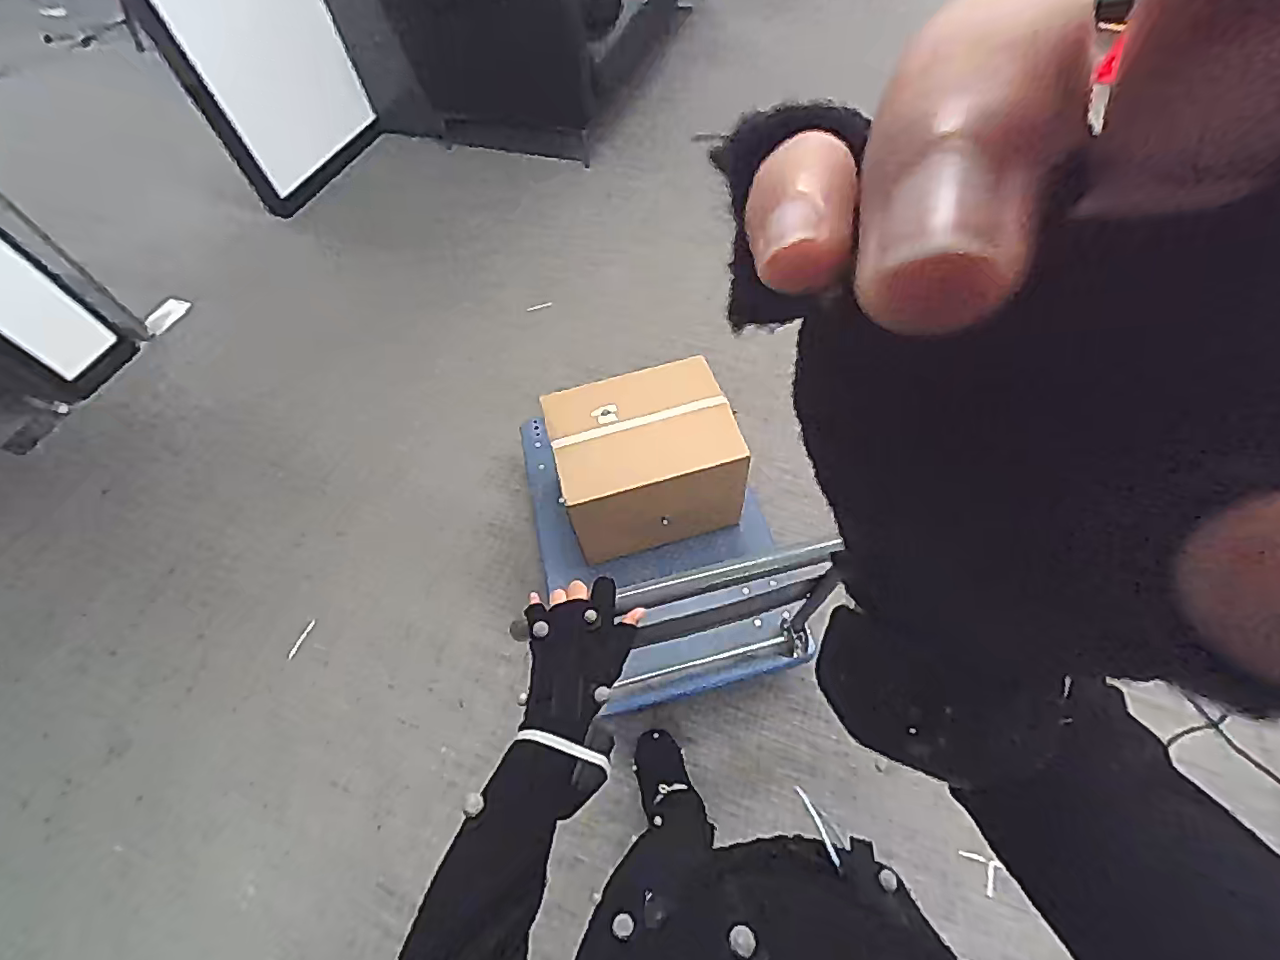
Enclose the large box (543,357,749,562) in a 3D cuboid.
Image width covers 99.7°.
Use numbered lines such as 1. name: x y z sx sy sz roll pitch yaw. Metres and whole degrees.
1. large box: 0.015 -0.041 1.332 0.408 0.320 0.320 -17 58 -4
